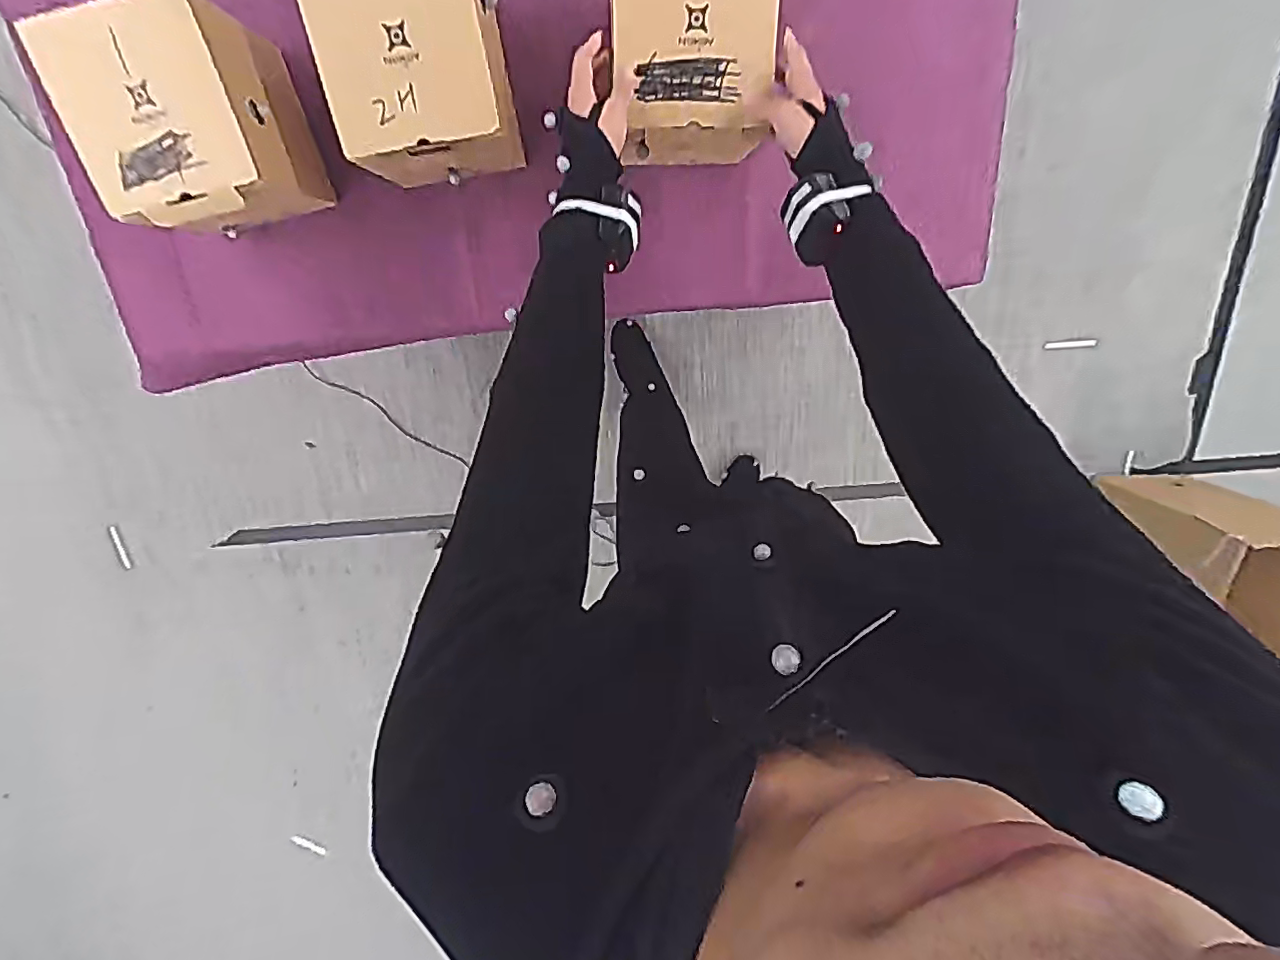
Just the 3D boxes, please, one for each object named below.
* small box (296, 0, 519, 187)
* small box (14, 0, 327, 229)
[{"bbox_3d":[-0.243,-0.449,0.602,0.168,0.176,0.179,-9,110,0],"label":"small box"},{"bbox_3d":[-0.494,-0.394,0.608,0.168,0.176,0.179,-14,109,1],"label":"small box"}]
